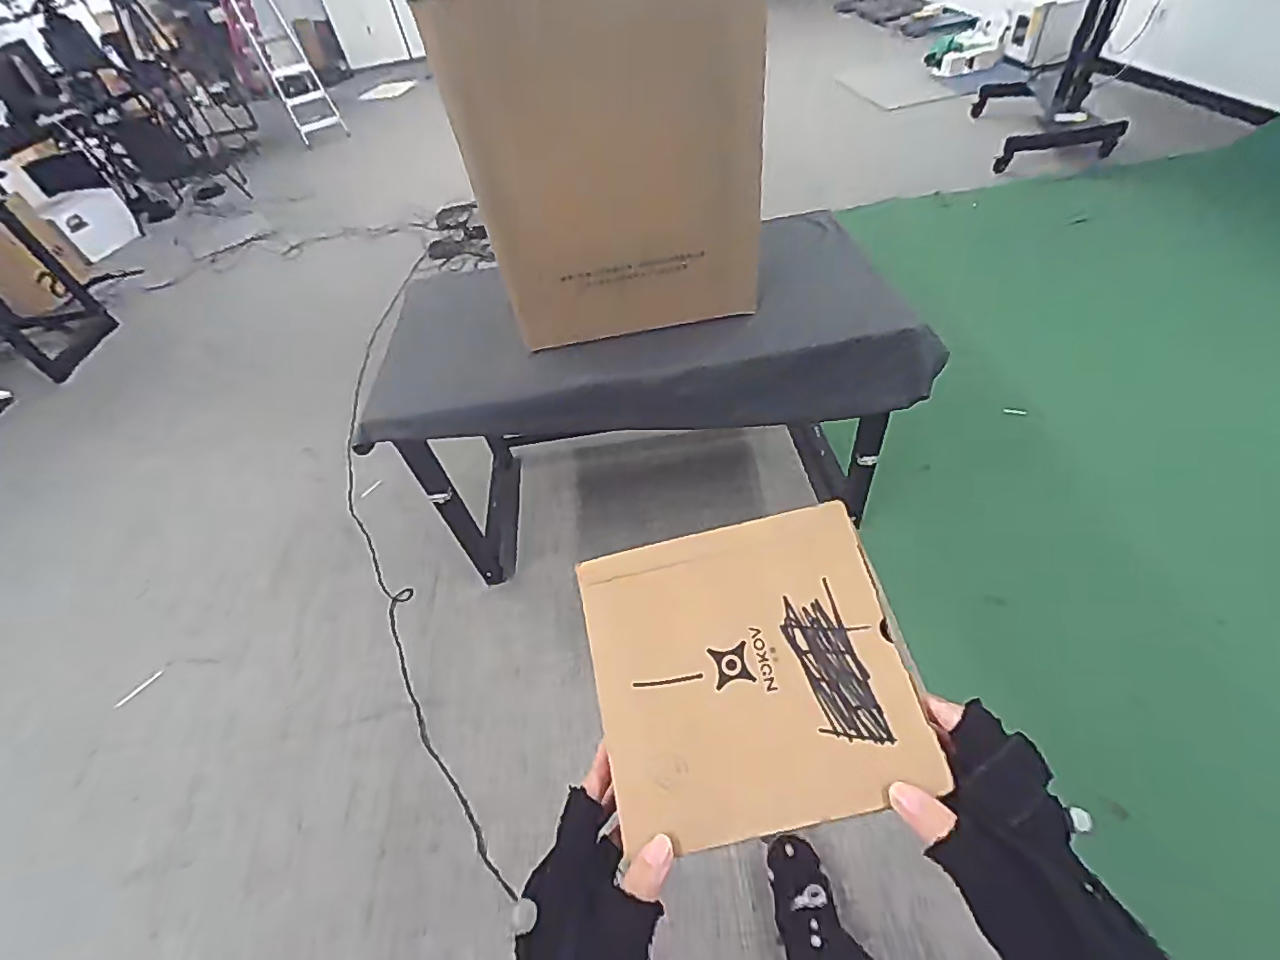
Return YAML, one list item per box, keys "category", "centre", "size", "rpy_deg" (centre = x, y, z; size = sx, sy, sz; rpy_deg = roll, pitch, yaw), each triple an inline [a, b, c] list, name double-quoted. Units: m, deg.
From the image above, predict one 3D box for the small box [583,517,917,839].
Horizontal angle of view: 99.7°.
- category: "small box"
  centre: [0.066, 0.146, 0.410]
  size: [0.179, 0.176, 0.168]
  rpy_deg: [-13, 64, 1]
